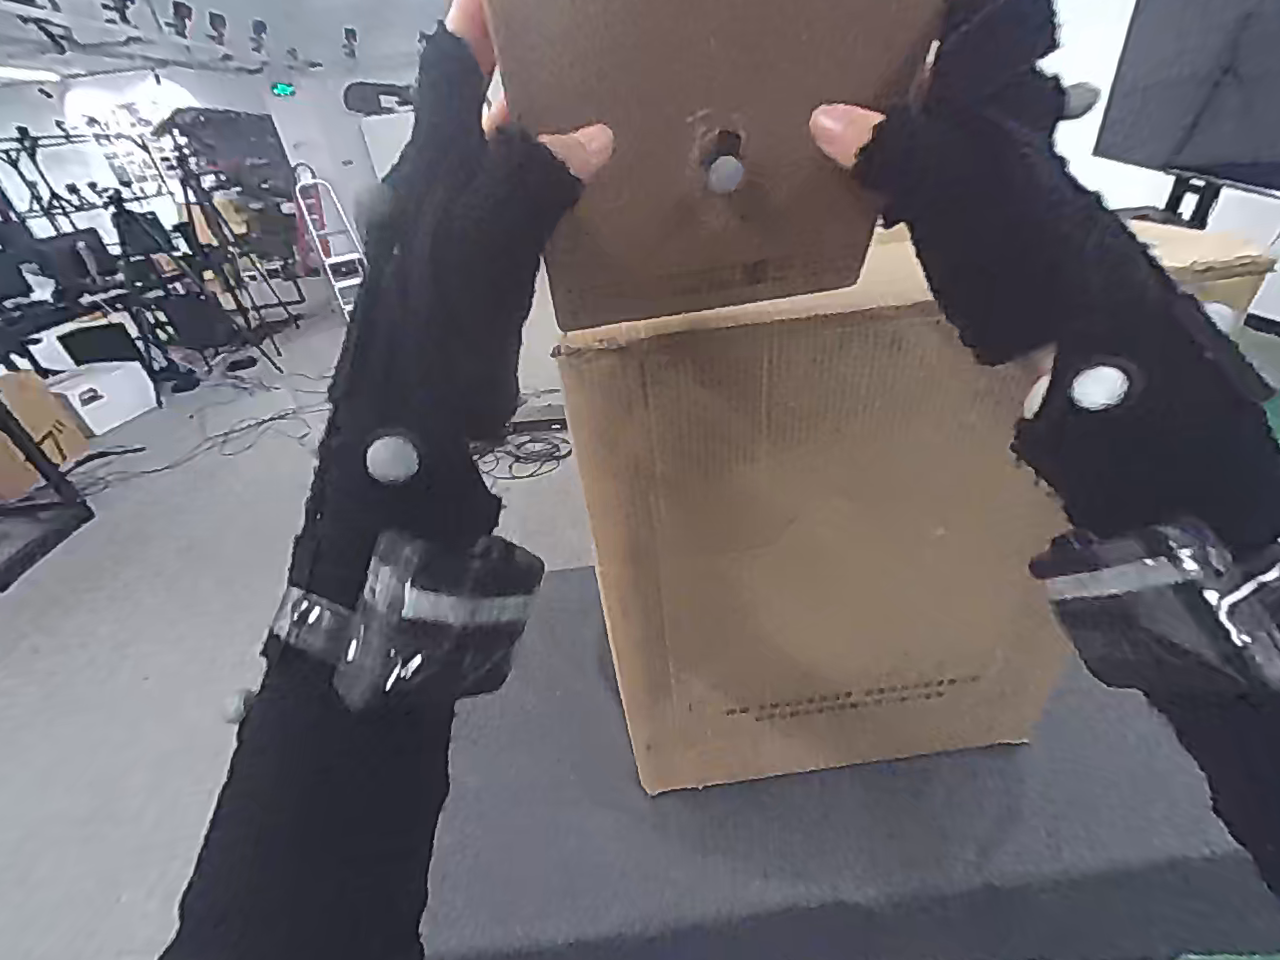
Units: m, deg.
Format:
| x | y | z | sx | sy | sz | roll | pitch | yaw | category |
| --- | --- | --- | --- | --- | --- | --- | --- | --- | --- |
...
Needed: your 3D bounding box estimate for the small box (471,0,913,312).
| x | y | z | sx | sy | sz | roll | pitch | yaw | category |
| --- | --- | --- | --- | --- | --- | --- | --- | --- | --- |
| 0.020 | -0.205 | 0.280 | 0.168 | 0.176 | 0.179 | -8 | 56 | -1 | small box |
